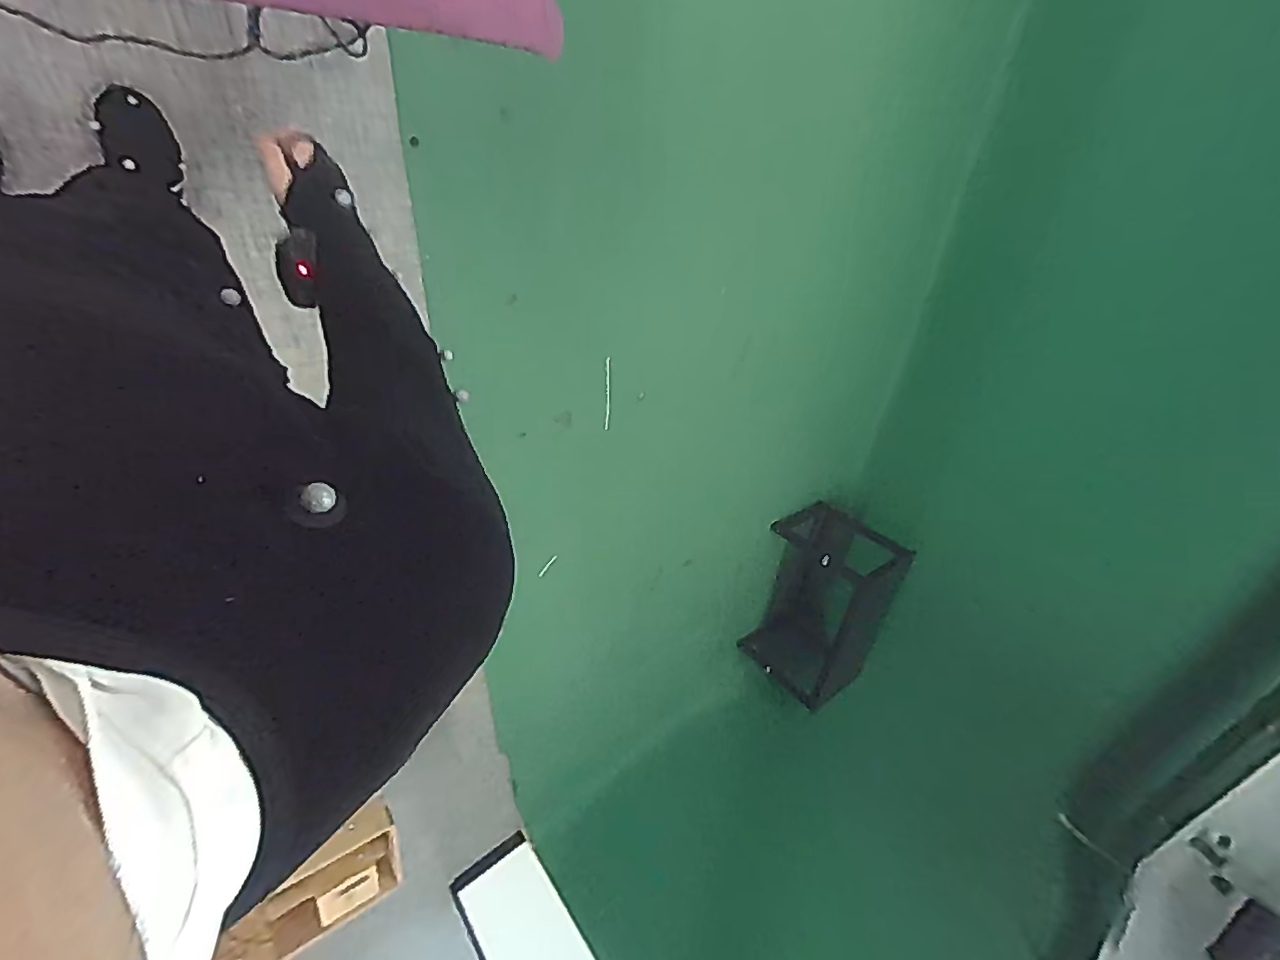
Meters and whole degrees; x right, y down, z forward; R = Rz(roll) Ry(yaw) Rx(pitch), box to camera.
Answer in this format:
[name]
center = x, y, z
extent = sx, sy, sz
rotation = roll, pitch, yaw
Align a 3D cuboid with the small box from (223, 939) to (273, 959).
[small box]
center = -1.075, 1.396, 1.448
extent = 0.168, 0.176, 0.179
rotation = -14, 126, -39
